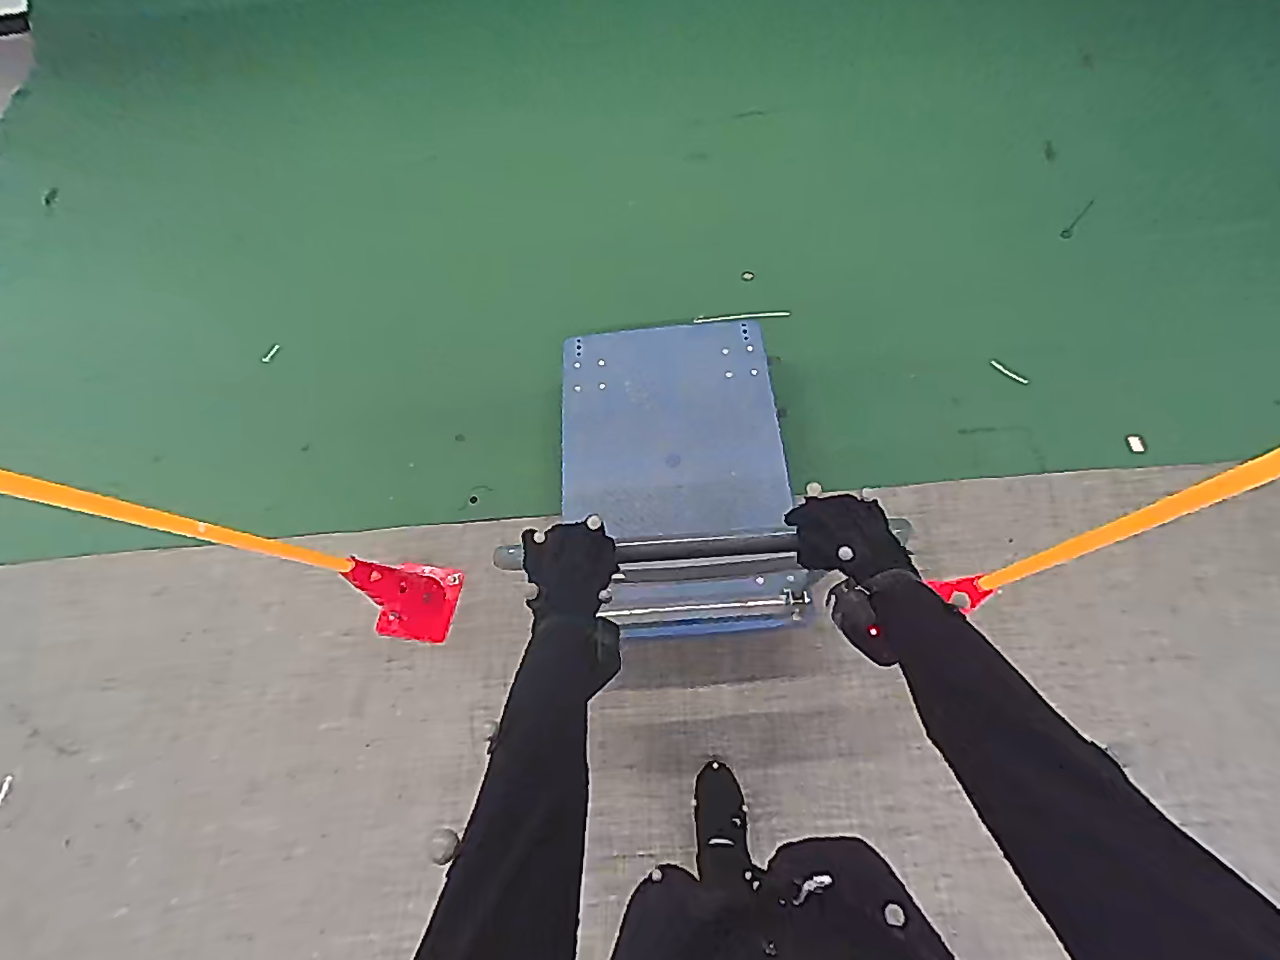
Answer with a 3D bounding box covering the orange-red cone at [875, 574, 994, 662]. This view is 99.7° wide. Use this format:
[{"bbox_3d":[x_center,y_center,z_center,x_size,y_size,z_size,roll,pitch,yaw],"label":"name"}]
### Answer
[{"bbox_3d":[0.679,0.274,1.200,0.198,0.360,0.199,5,67,7],"label":"orange-red cone"}]
